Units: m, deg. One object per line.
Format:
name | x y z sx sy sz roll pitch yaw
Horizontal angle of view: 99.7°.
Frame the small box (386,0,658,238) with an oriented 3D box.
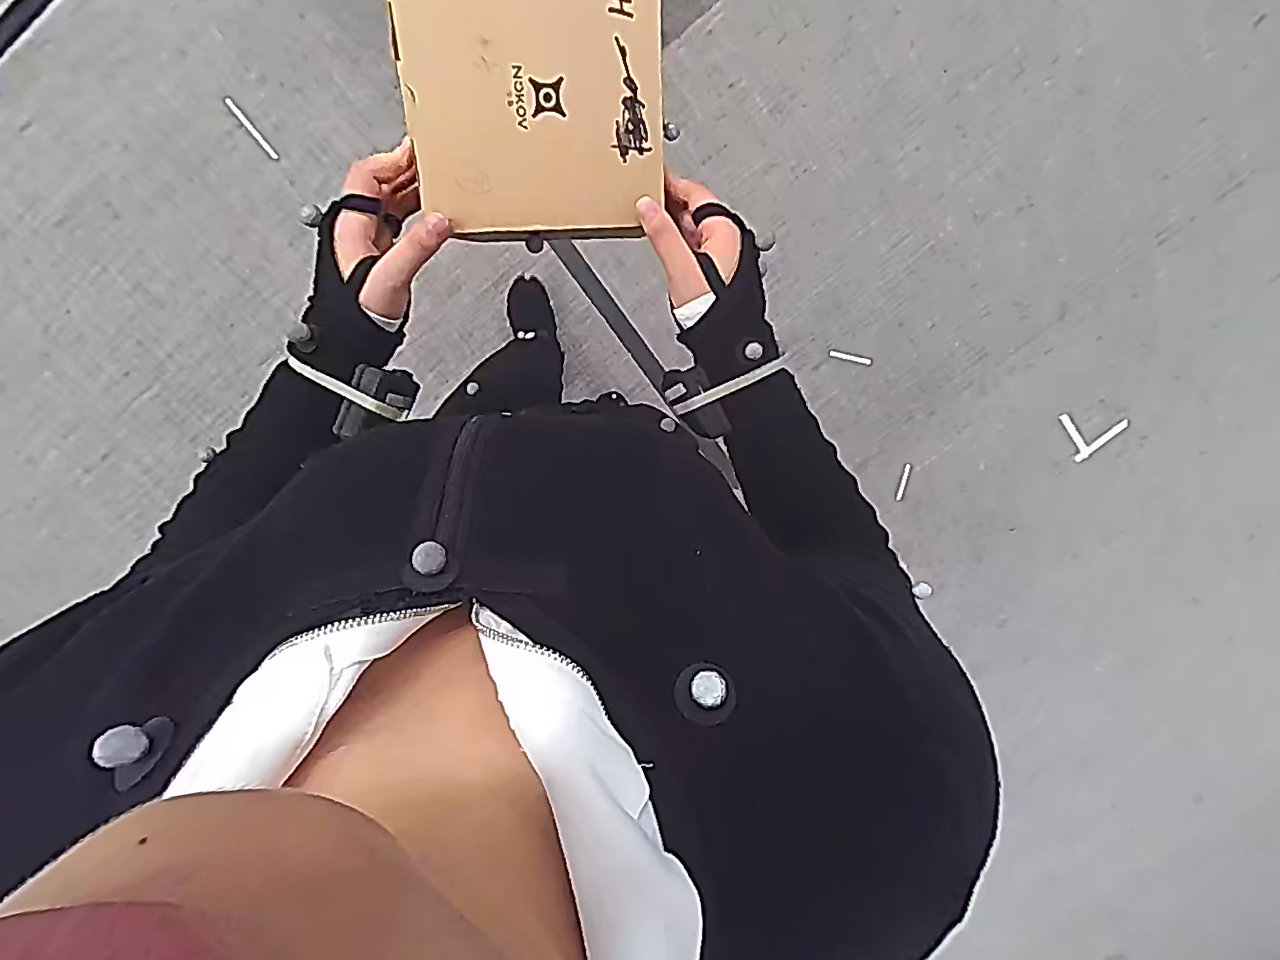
small box | -0.079 -0.293 0.439 0.179 0.176 0.168 -3 111 -3
